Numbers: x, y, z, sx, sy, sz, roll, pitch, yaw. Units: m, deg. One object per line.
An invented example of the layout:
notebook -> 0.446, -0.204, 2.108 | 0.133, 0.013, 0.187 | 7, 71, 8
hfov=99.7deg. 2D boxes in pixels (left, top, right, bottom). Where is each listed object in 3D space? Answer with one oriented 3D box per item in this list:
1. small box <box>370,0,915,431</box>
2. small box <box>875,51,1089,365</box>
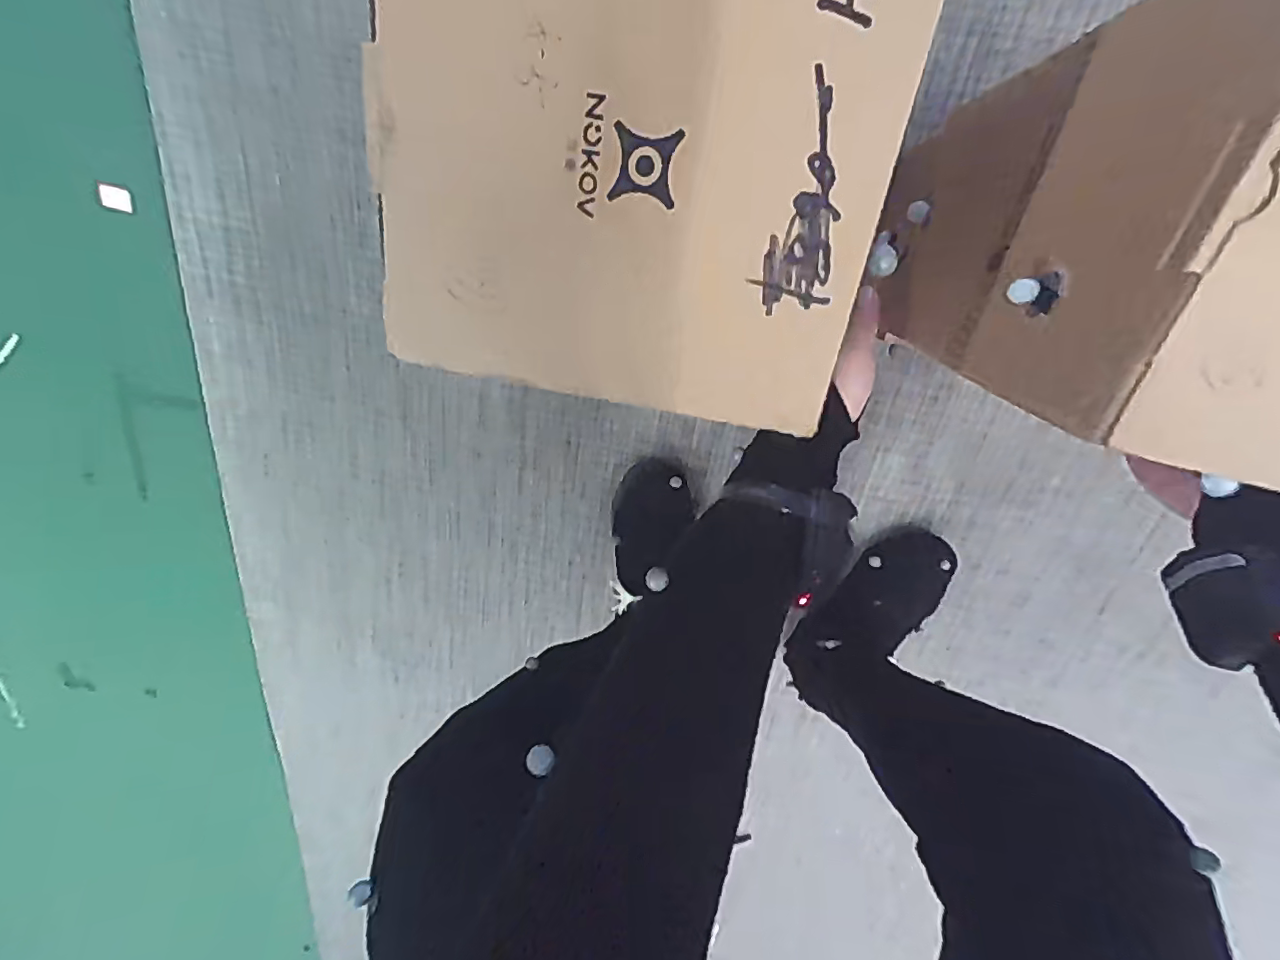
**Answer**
small box -> 0.002, -0.140, 0.260 | 0.179, 0.176, 0.168 | 12, 115, 6
small box -> 0.294, -0.162, 0.379 | 0.179, 0.176, 0.168 | 14, 115, 5
